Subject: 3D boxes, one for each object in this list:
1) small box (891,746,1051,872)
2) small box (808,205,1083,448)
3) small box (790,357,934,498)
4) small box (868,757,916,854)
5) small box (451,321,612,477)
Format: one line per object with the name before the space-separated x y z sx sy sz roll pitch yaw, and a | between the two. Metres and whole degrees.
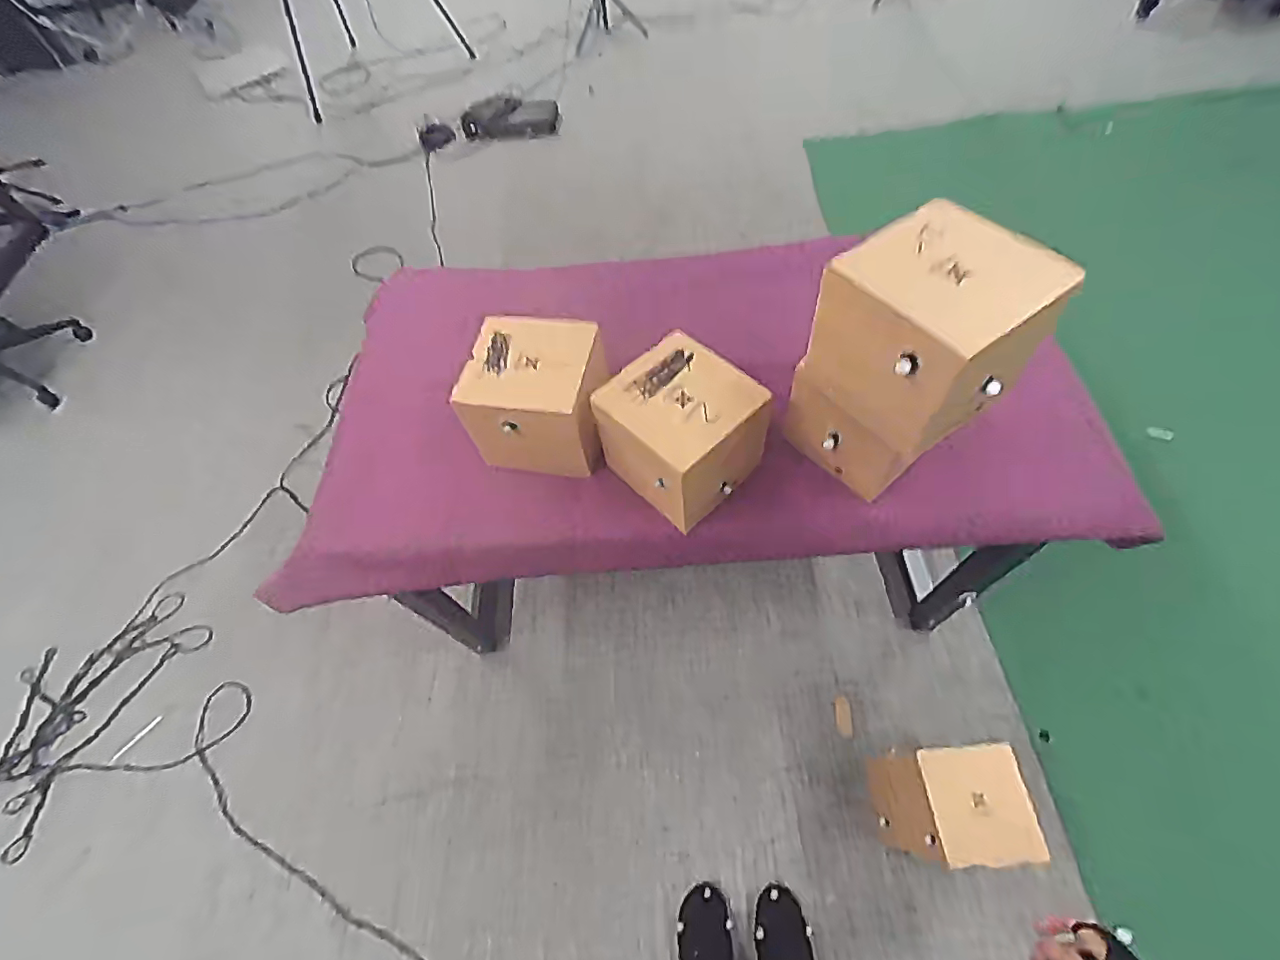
small box | 0.580 0.591 0.979 0.168 0.176 0.179 -6 60 2
small box | 0.313 -0.158 0.599 0.168 0.176 0.179 -32 59 -13
small box | 0.329 -0.106 0.760 0.179 0.176 0.168 -39 62 -16
small box | 0.590 0.671 1.119 0.179 0.176 0.168 -4 59 4
small box | -0.150 -0.118 0.822 0.179 0.176 0.168 7 60 9
